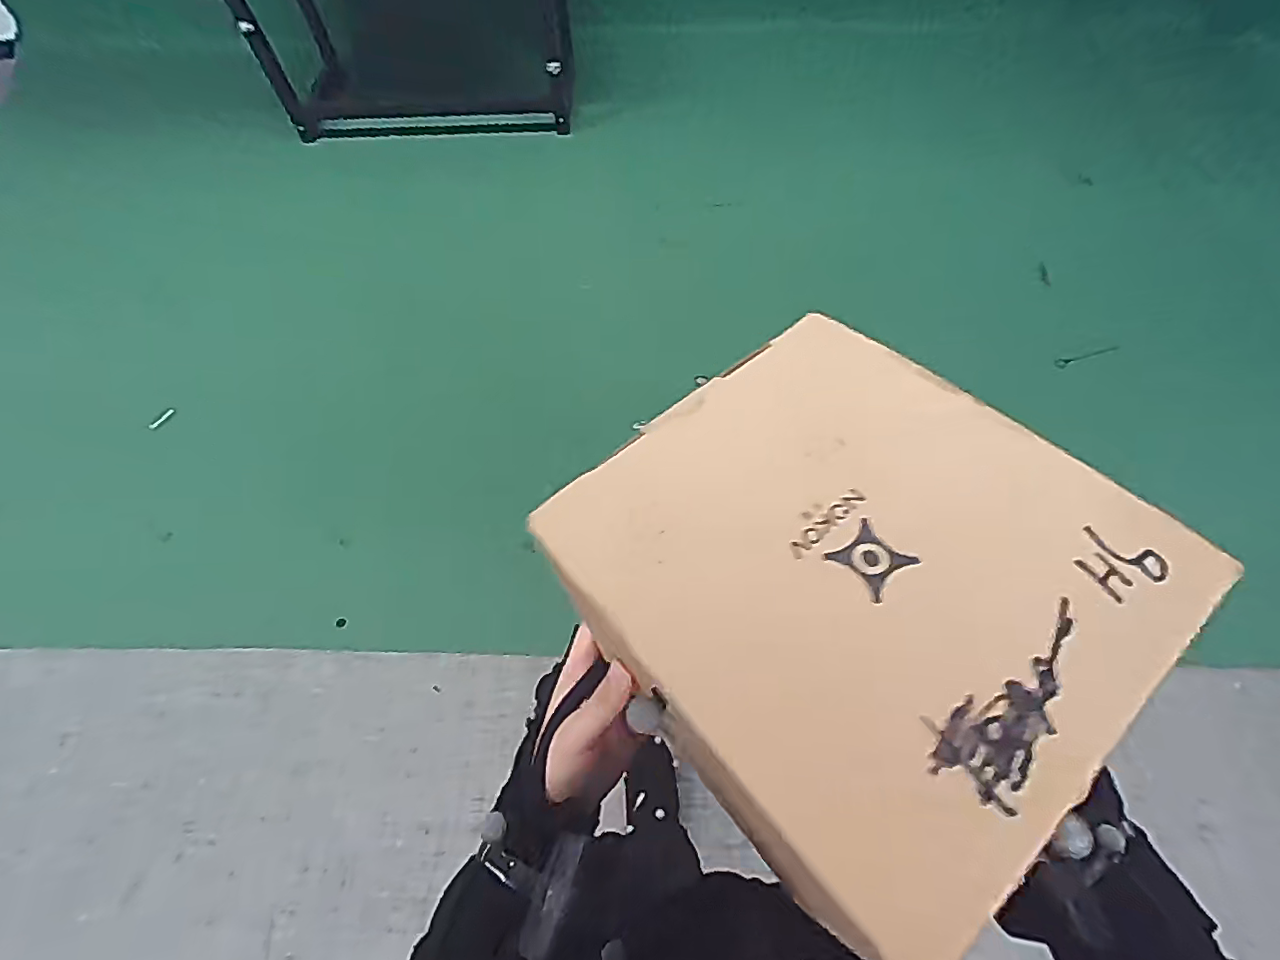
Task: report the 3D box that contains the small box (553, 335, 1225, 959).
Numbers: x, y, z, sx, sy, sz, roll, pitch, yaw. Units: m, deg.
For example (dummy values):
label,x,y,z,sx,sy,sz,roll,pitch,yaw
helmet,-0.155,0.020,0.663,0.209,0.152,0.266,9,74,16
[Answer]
label,x,y,z,sx,sy,sz,roll,pitch,yaw
small box,0.086,0.070,0.262,0.168,0.176,0.179,-37,60,-17
